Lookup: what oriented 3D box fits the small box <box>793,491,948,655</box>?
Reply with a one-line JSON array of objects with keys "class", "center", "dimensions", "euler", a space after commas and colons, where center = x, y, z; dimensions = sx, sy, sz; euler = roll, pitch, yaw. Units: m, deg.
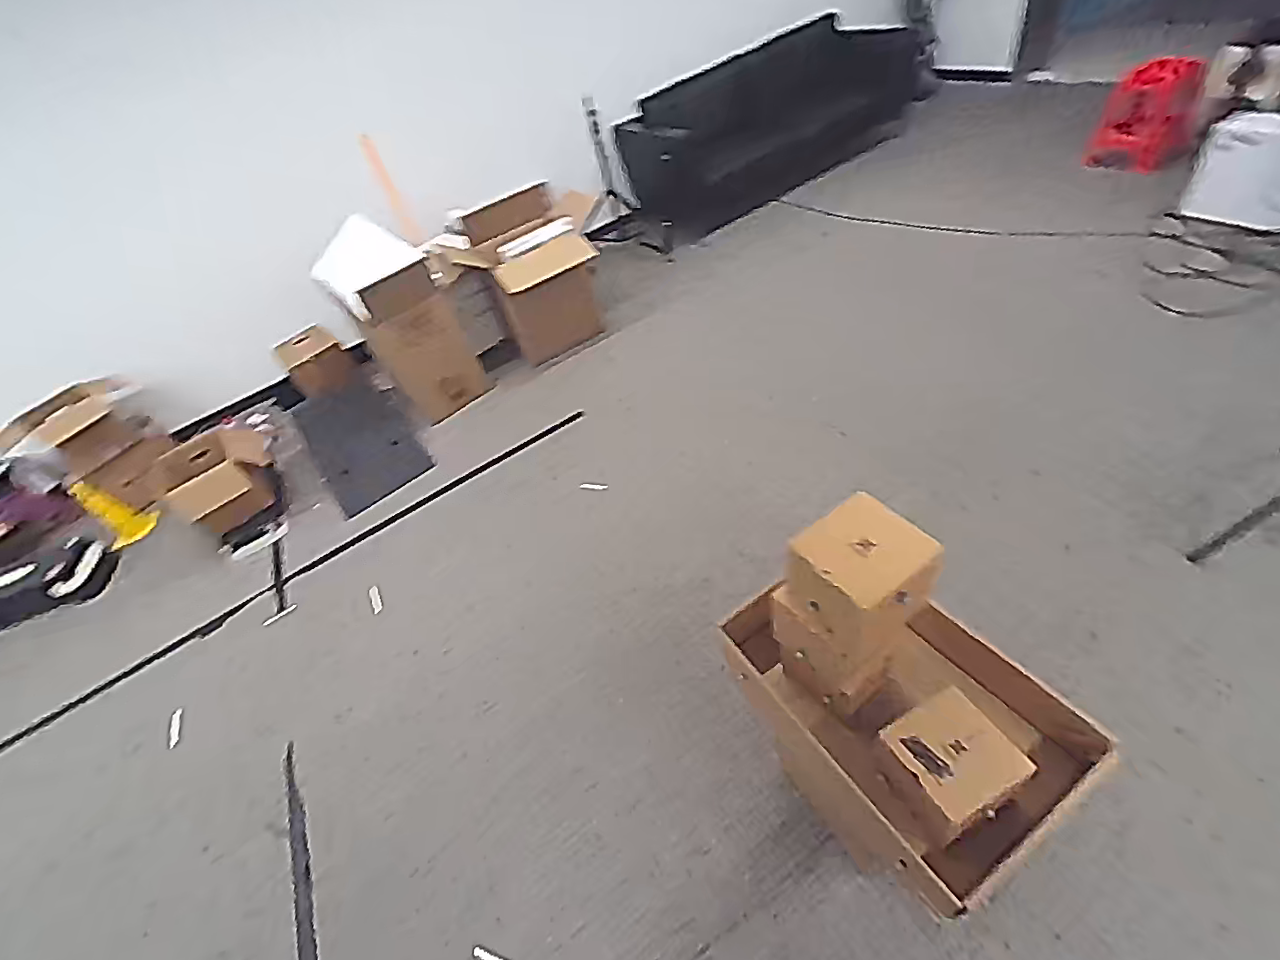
[{"class": "small box", "center": [0.375, 0.158, 0.916], "dimensions": [0.179, 0.176, 0.168], "euler": [-32, 48, -15]}]

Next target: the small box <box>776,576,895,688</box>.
[{"class": "small box", "center": [0.381, 0.261, 1.045], "dimensions": [0.179, 0.176, 0.168], "euler": [-35, 48, -17]}]

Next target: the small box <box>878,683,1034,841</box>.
[{"class": "small box", "center": [0.554, 0.511, 0.975], "dimensions": [0.179, 0.176, 0.168], "euler": [-27, 44, -10]}]
